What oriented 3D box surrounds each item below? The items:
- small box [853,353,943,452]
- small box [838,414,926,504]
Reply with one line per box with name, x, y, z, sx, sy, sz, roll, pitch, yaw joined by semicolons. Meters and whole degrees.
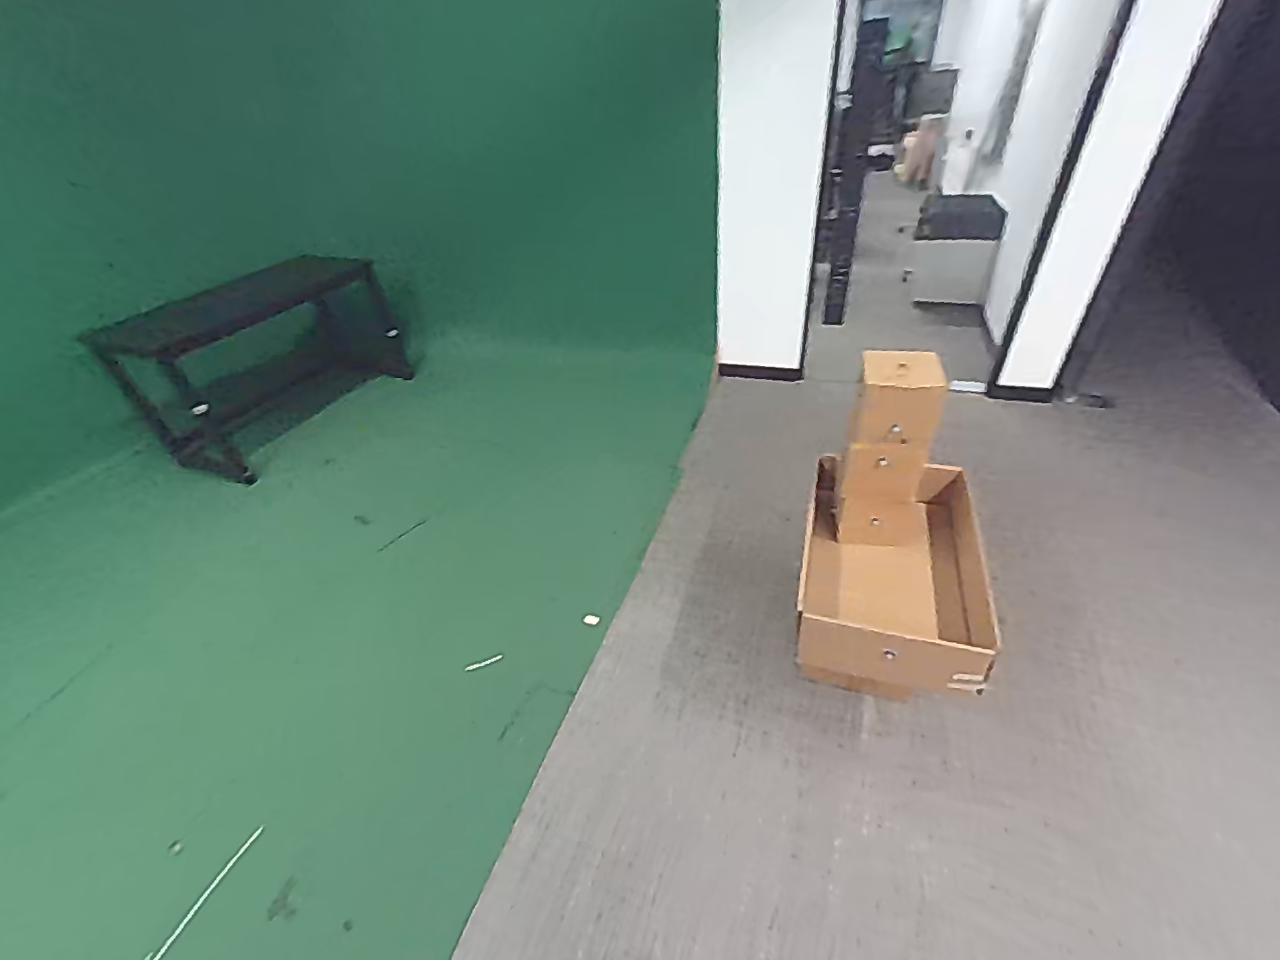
small box;0.612;-0.189;1.305;0.168;0.176;0.179;5;40;16
small box;0.618;-0.054;1.400;0.179;0.176;0.168;4;39;14
